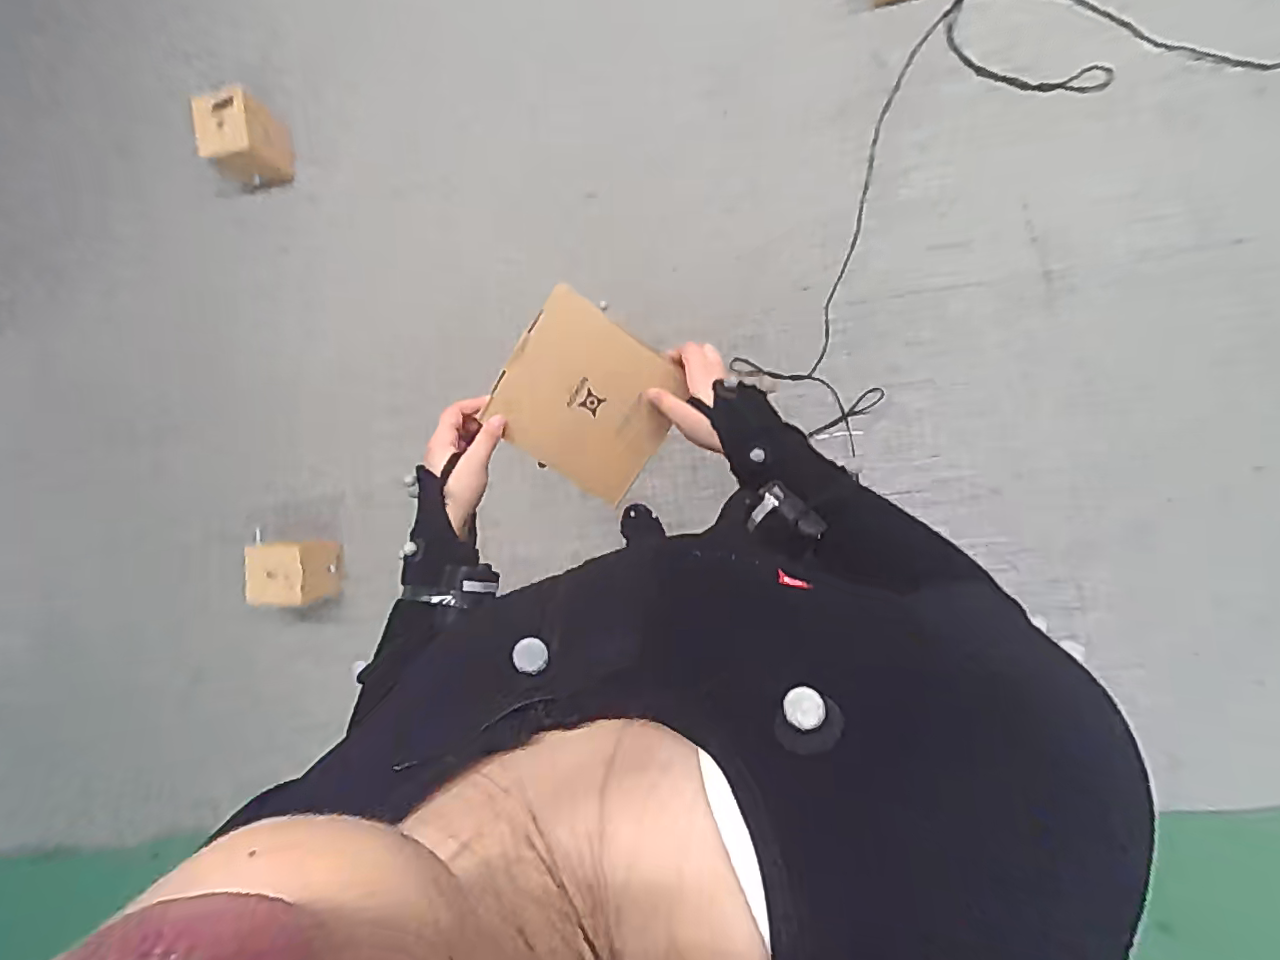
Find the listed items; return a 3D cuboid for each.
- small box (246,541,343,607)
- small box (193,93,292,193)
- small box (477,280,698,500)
[{"bbox_3d":[-0.996,0.269,1.568,0.179,0.176,0.168,-2,90,9],"label":"small box"},{"bbox_3d":[-1.170,-0.989,1.600,0.168,0.176,0.179,-6,90,9],"label":"small box"},{"bbox_3d":[-0.059,-0.105,0.636,0.179,0.176,0.168,33,100,-10],"label":"small box"}]
